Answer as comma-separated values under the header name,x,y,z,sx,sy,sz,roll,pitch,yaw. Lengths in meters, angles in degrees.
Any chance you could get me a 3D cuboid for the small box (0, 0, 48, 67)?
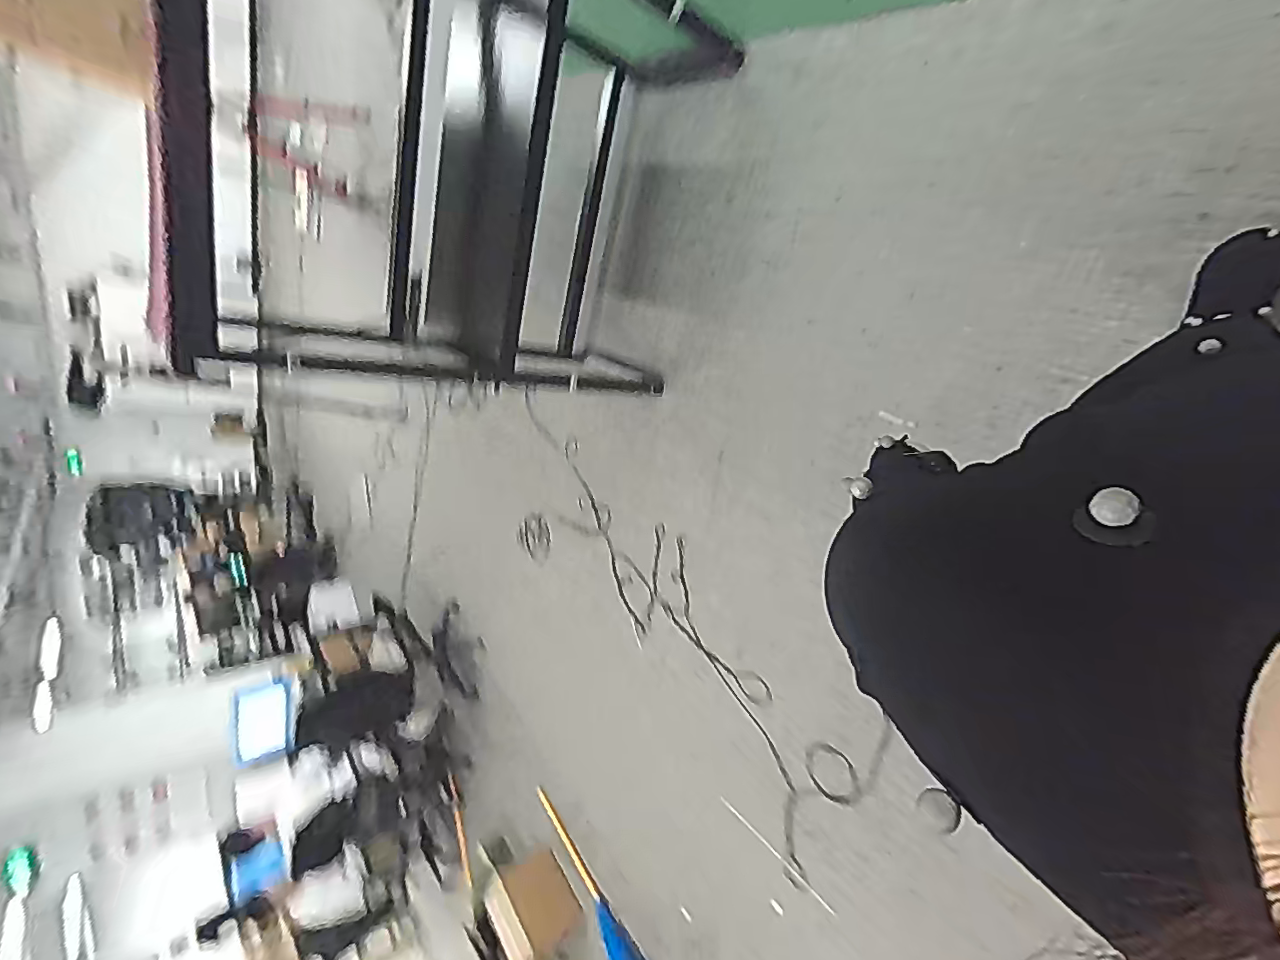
name,x,y,z,sx,sy,sz,roll,pitch,yaw
small box,-1.146,-0.840,0.916,0.179,0.176,0.168,29,115,42
